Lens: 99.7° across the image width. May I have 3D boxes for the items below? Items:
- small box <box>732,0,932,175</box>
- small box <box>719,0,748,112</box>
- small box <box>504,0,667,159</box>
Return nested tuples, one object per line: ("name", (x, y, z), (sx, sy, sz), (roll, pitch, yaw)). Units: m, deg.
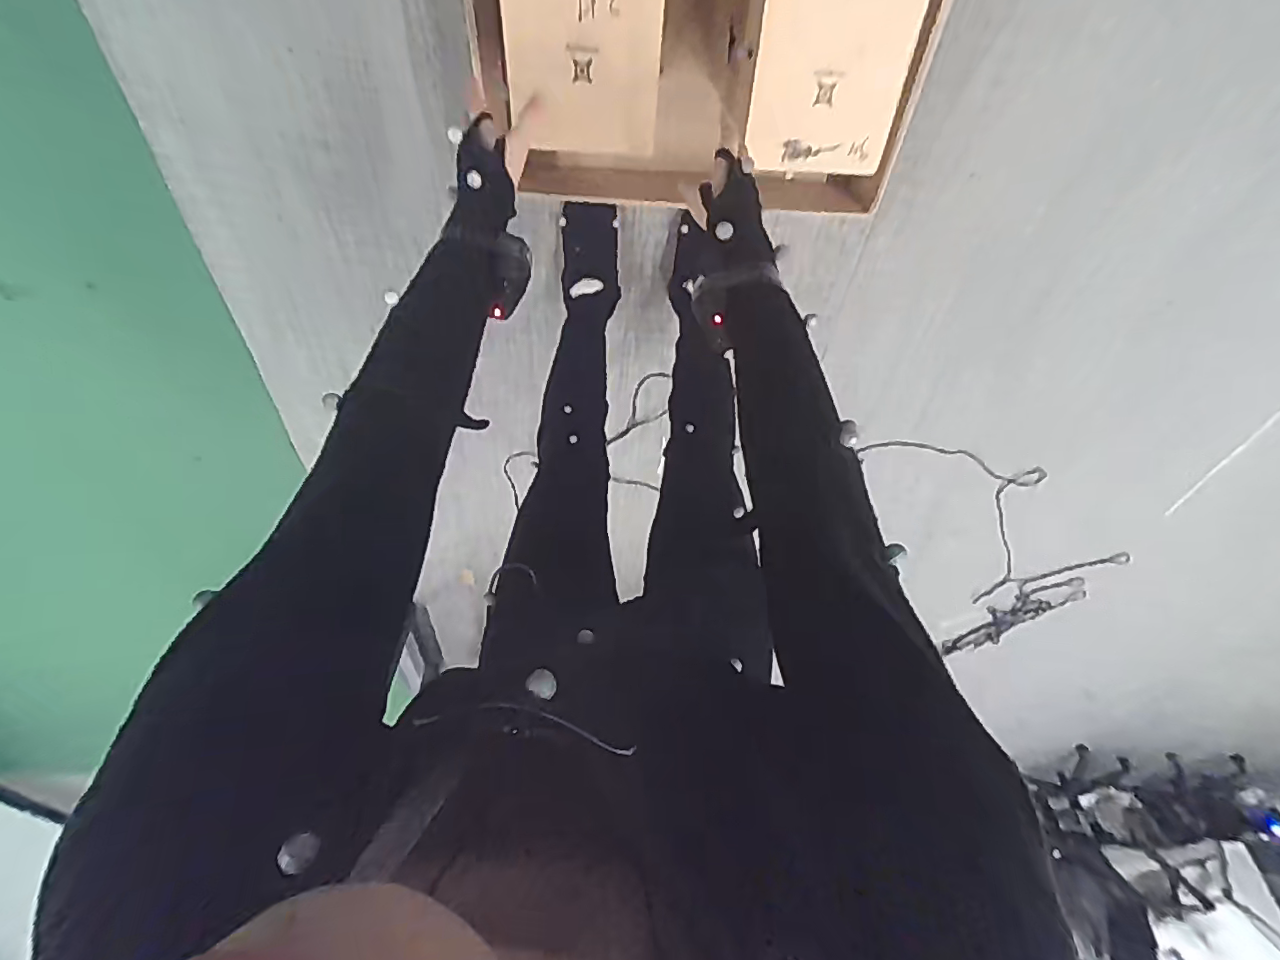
("small box", (0.208, -0.487, 0.644), (0.168, 0.176, 0.179), (2, 135, -1))
("small box", (0.205, -0.620, 0.741), (0.179, 0.176, 0.168), (-1, 136, 1))
("small box", (-0.058, -0.503, 0.631), (0.168, 0.176, 0.179), (2, 136, -3))
